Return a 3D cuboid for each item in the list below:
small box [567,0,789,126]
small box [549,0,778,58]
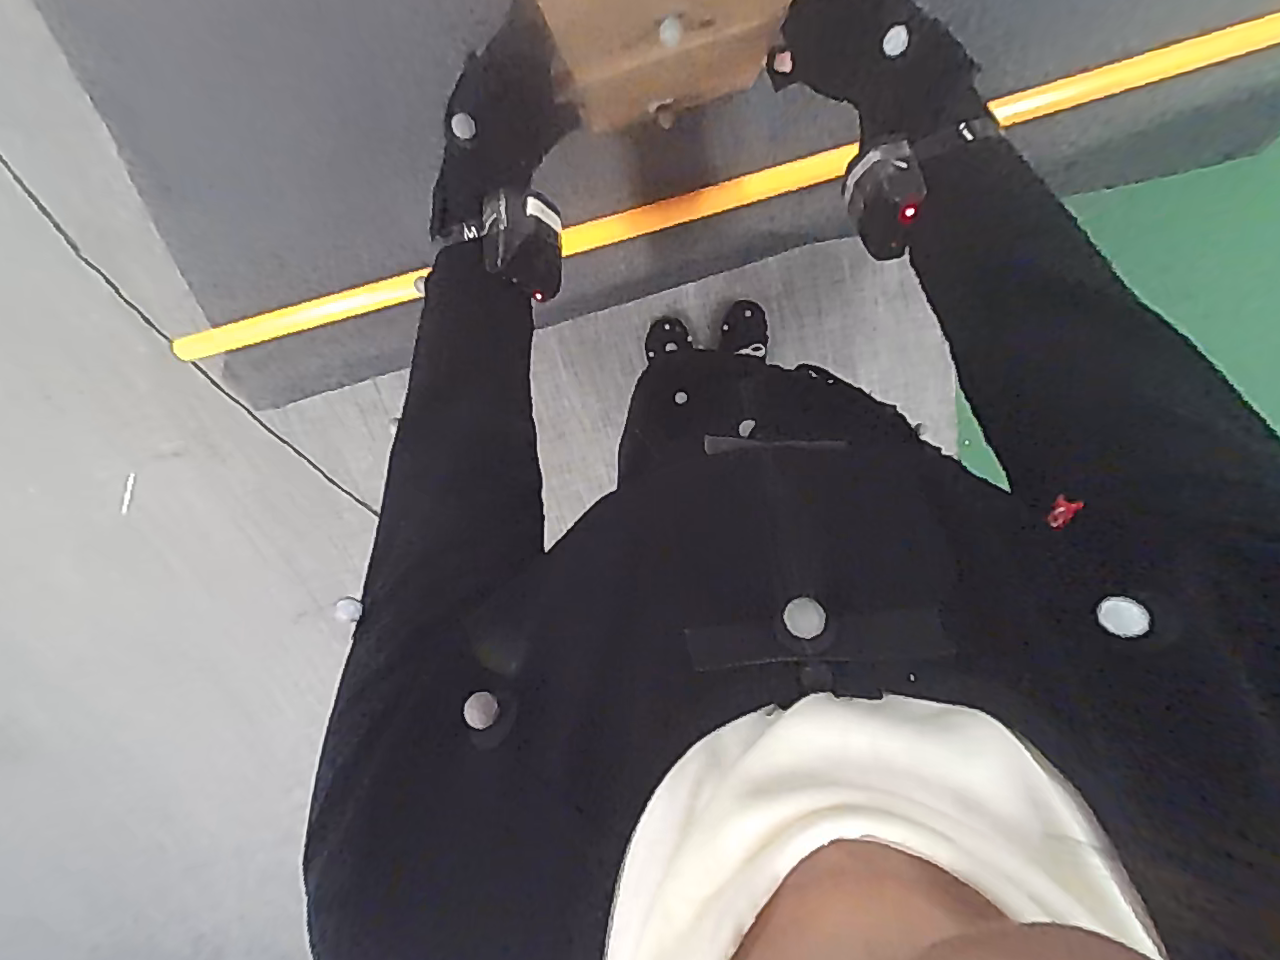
[{"bbox_3d":[0.012,-0.432,0.448,0.168,0.176,0.179,-14,111,8],"label":"small box"},{"bbox_3d":[0.005,-0.378,0.293,0.168,0.176,0.179,-10,111,7],"label":"small box"}]
